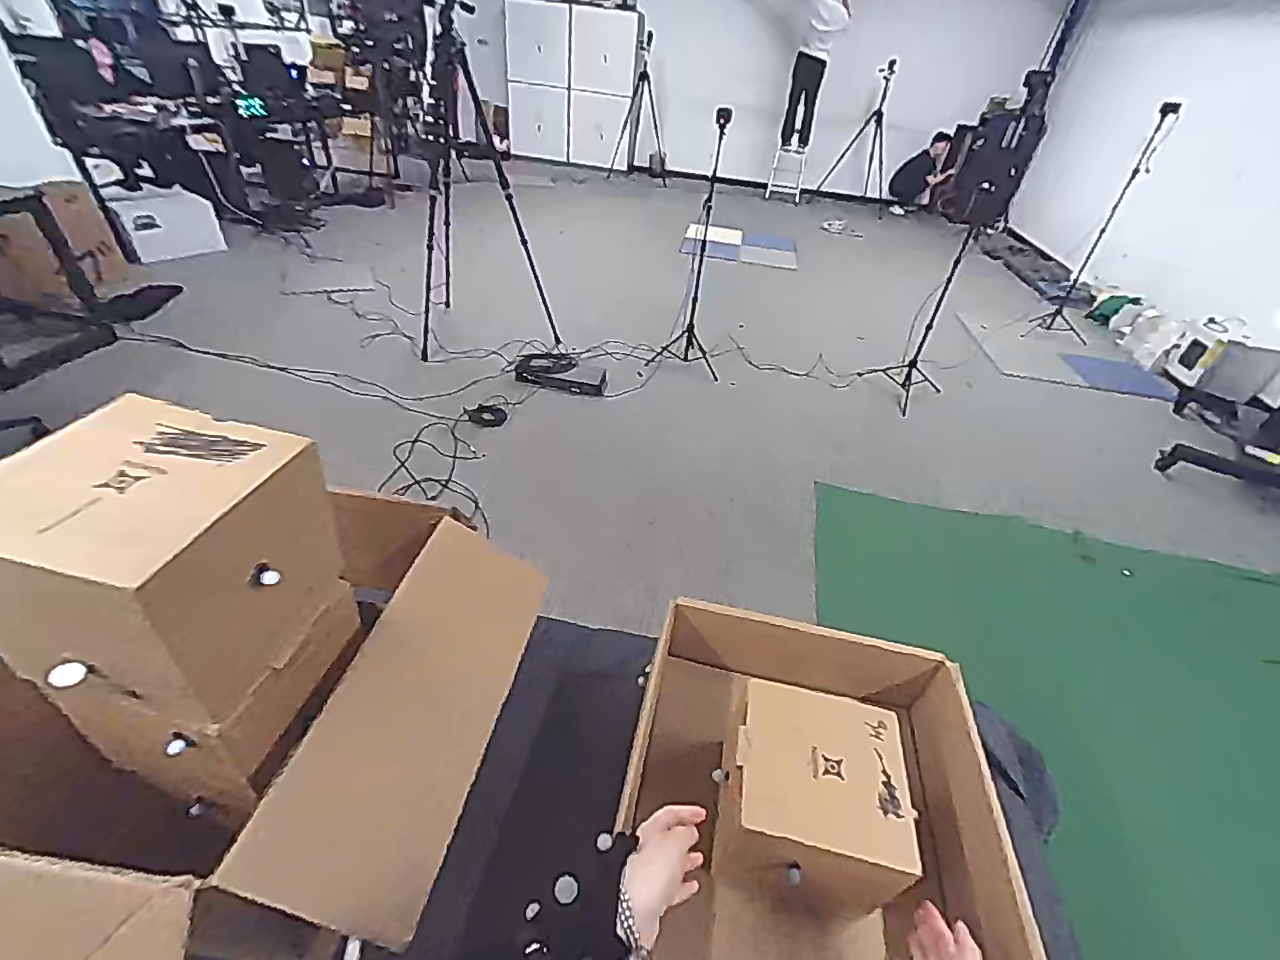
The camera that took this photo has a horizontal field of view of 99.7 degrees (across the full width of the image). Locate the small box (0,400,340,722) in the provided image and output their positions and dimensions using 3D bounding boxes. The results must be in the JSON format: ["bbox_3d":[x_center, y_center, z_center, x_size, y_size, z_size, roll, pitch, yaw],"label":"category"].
[{"bbox_3d":[-0.378,0.063,0.448,0.168,0.176,0.179,14,38,1],"label":"small box"}]
